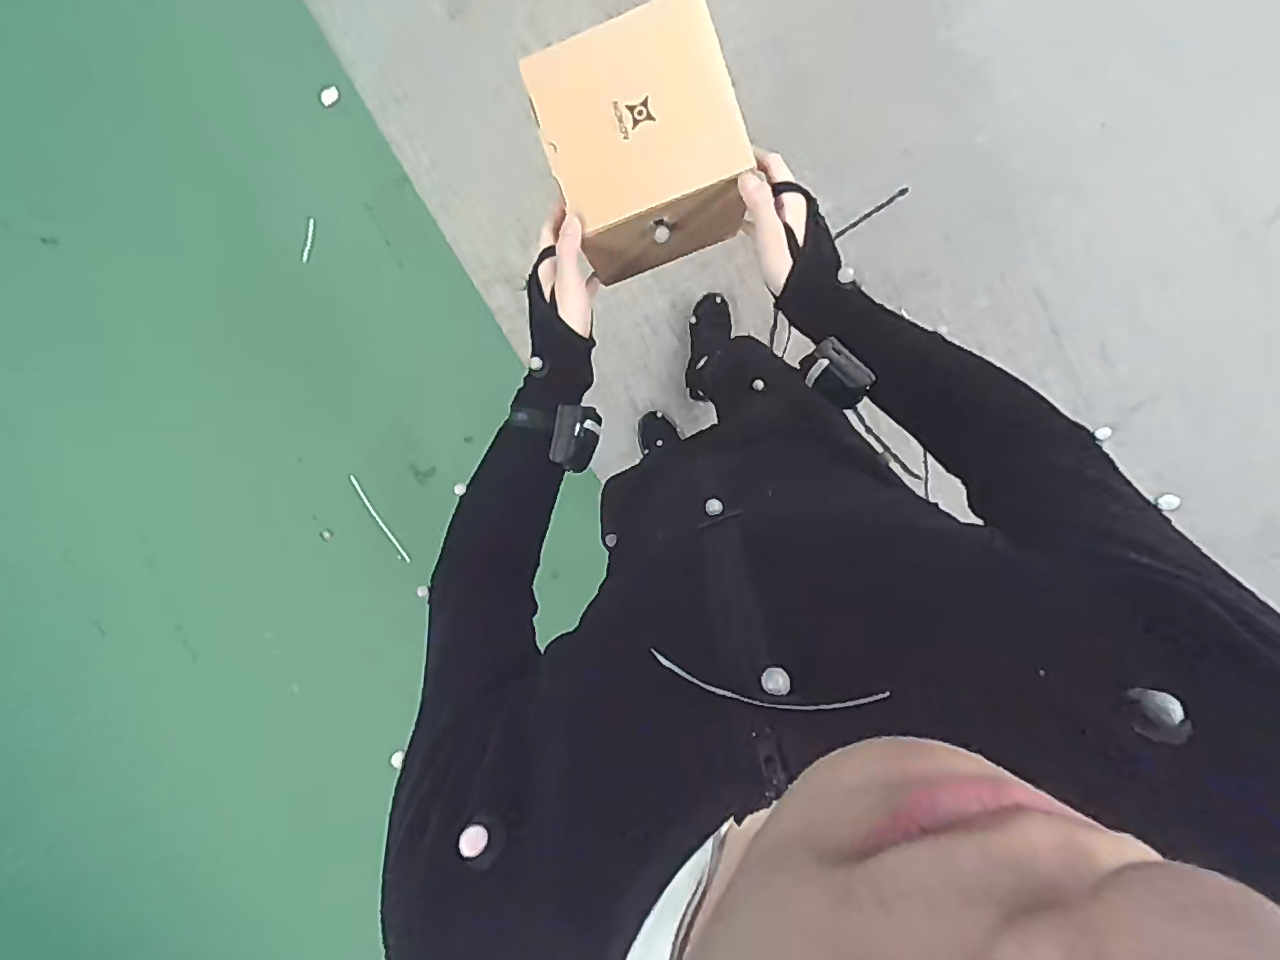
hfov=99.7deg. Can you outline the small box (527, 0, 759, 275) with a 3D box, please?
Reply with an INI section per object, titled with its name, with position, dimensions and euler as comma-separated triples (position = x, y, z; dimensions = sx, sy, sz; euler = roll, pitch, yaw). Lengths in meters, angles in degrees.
[small box]
position = 0.009, -0.342, 0.567
dimensions = 0.179, 0.176, 0.168
euler = -18, 92, 8
